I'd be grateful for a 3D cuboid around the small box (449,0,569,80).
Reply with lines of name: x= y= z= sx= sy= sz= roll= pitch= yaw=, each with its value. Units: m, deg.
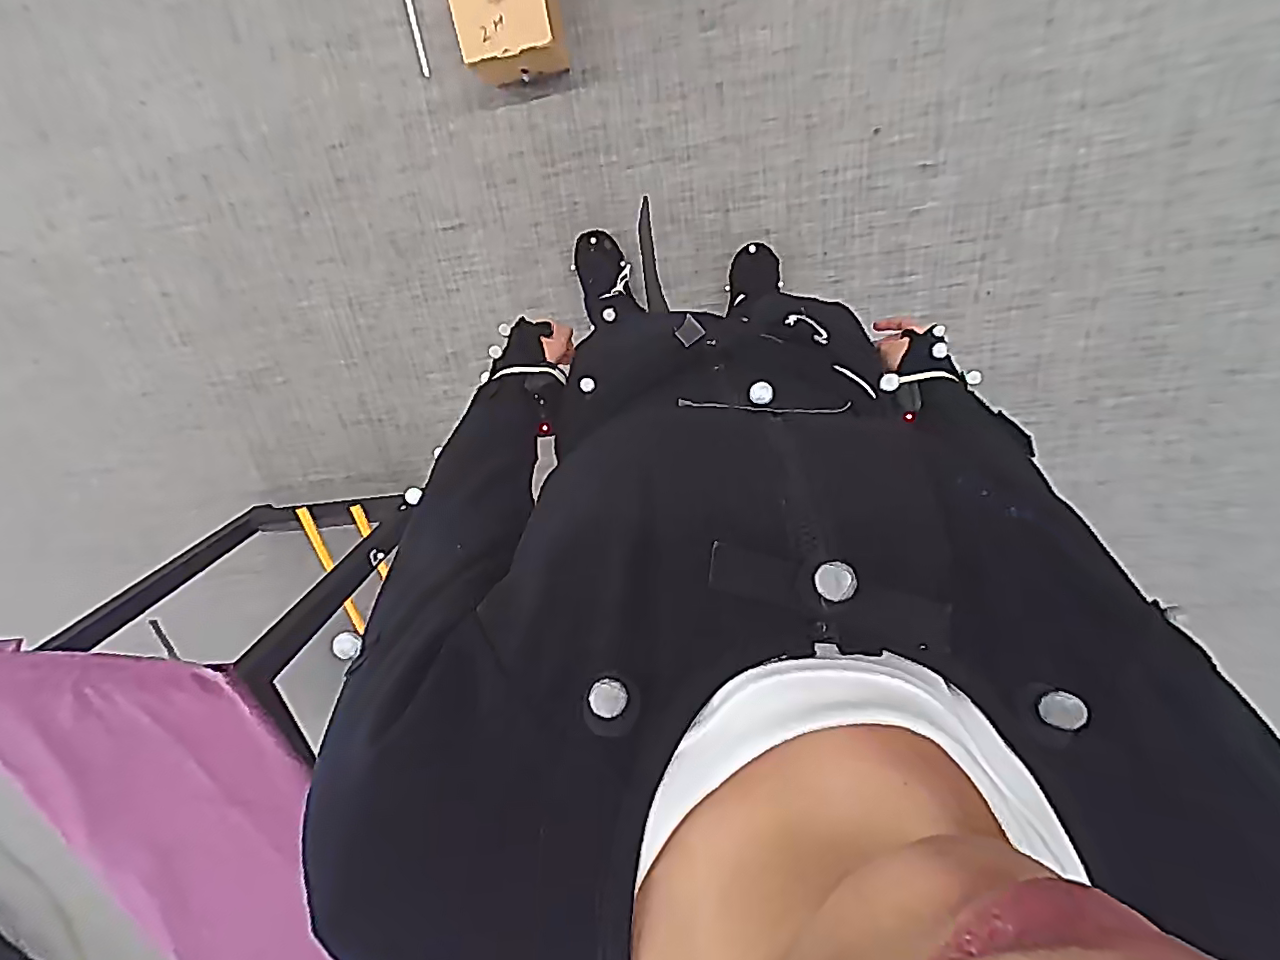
small box: x=-0.237 y=-0.856 z=0.969 sx=0.168 sy=0.176 sz=0.179 roll=-6 pitch=115 yaw=9
